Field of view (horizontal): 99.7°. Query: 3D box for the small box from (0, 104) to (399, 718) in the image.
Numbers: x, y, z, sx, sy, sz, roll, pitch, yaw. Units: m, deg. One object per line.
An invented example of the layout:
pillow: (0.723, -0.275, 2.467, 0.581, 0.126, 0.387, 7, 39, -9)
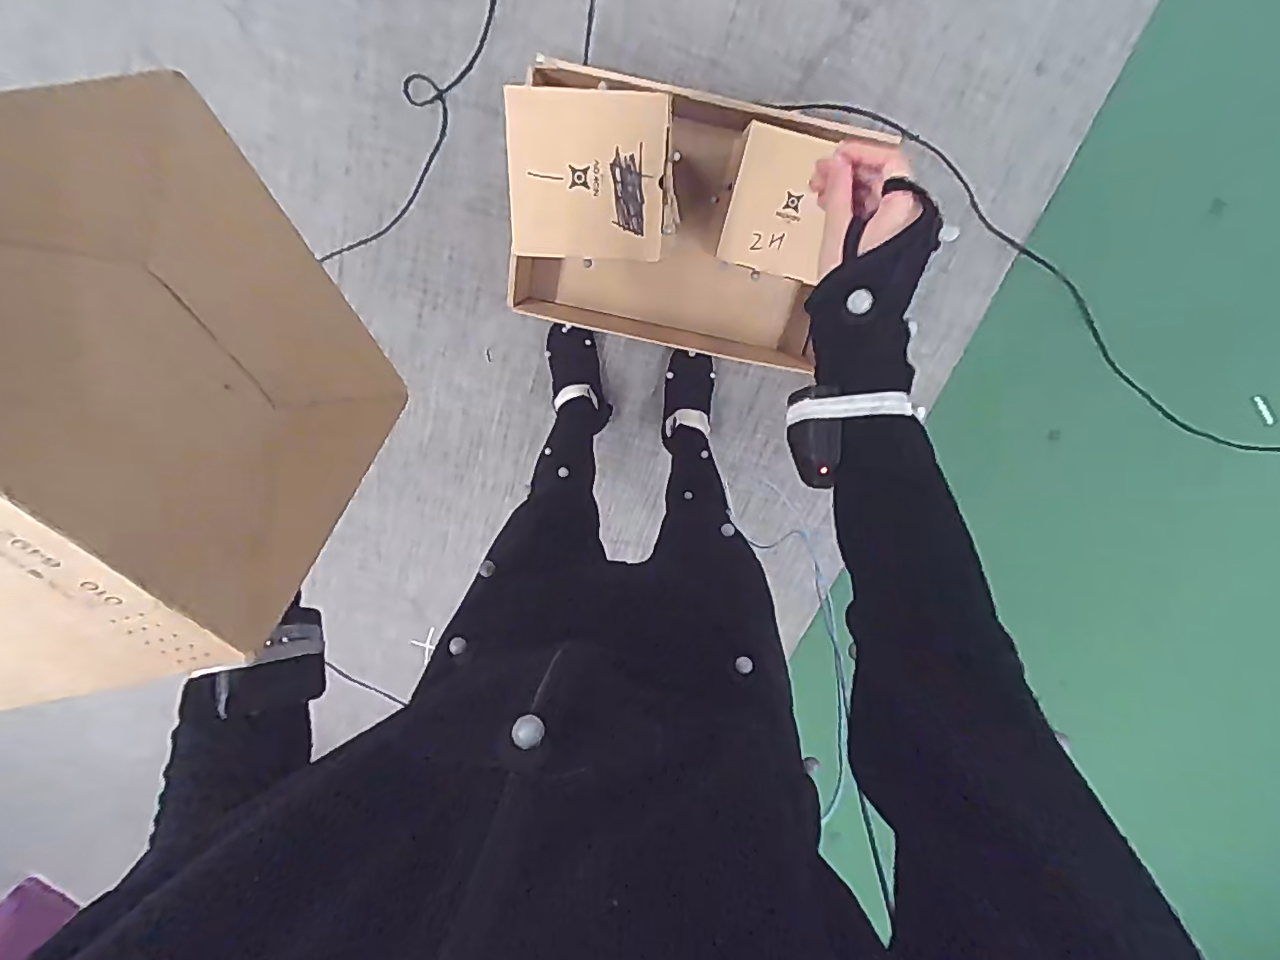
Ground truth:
small box: (-0.241, -0.027, 0.227, 0.176, 0.179, 0.168, -13, 131, 13)

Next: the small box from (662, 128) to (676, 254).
small box: (-0.040, -0.430, 0.814, 0.179, 0.176, 0.168, -3, 116, 4)

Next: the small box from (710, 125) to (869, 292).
small box: (0.208, -0.399, 0.812, 0.168, 0.176, 0.179, 14, 115, -3)

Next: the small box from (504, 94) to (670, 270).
small box: (-0.057, -0.359, 0.667, 0.179, 0.176, 0.168, 3, 116, 1)
